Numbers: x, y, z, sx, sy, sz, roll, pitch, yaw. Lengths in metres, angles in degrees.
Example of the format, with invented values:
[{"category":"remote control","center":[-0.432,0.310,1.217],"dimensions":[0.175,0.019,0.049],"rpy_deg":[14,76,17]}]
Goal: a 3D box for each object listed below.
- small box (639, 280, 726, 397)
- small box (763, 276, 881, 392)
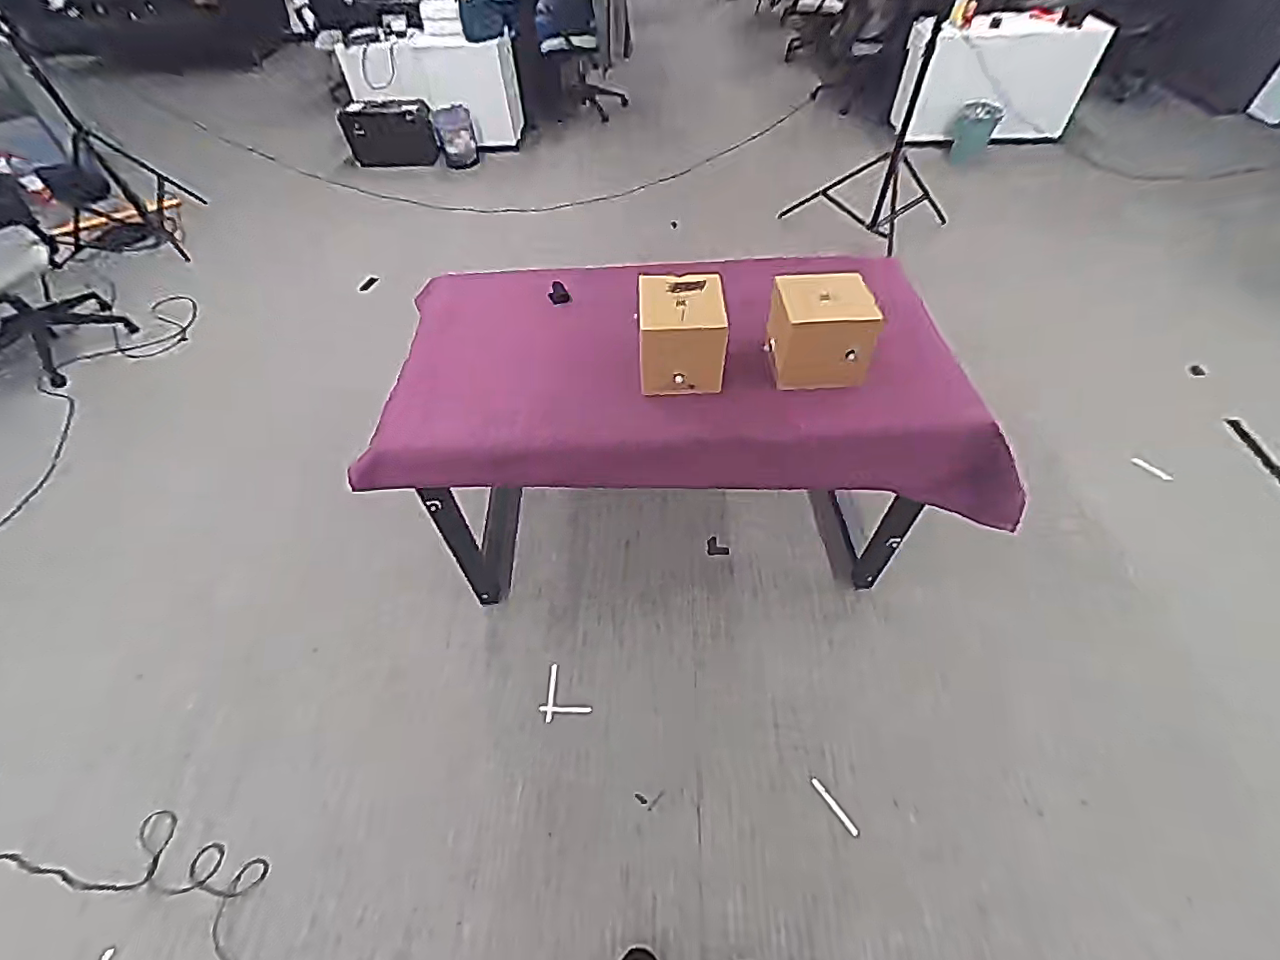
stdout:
[{"category":"small box","center":[0.081,-0.292,1.123],"dimensions":[0.168,0.176,0.179],"rpy_deg":[-2,51,1]},{"category":"small box","center":[0.365,-0.299,1.121],"dimensions":[0.179,0.176,0.168],"rpy_deg":[-4,49,1]}]
